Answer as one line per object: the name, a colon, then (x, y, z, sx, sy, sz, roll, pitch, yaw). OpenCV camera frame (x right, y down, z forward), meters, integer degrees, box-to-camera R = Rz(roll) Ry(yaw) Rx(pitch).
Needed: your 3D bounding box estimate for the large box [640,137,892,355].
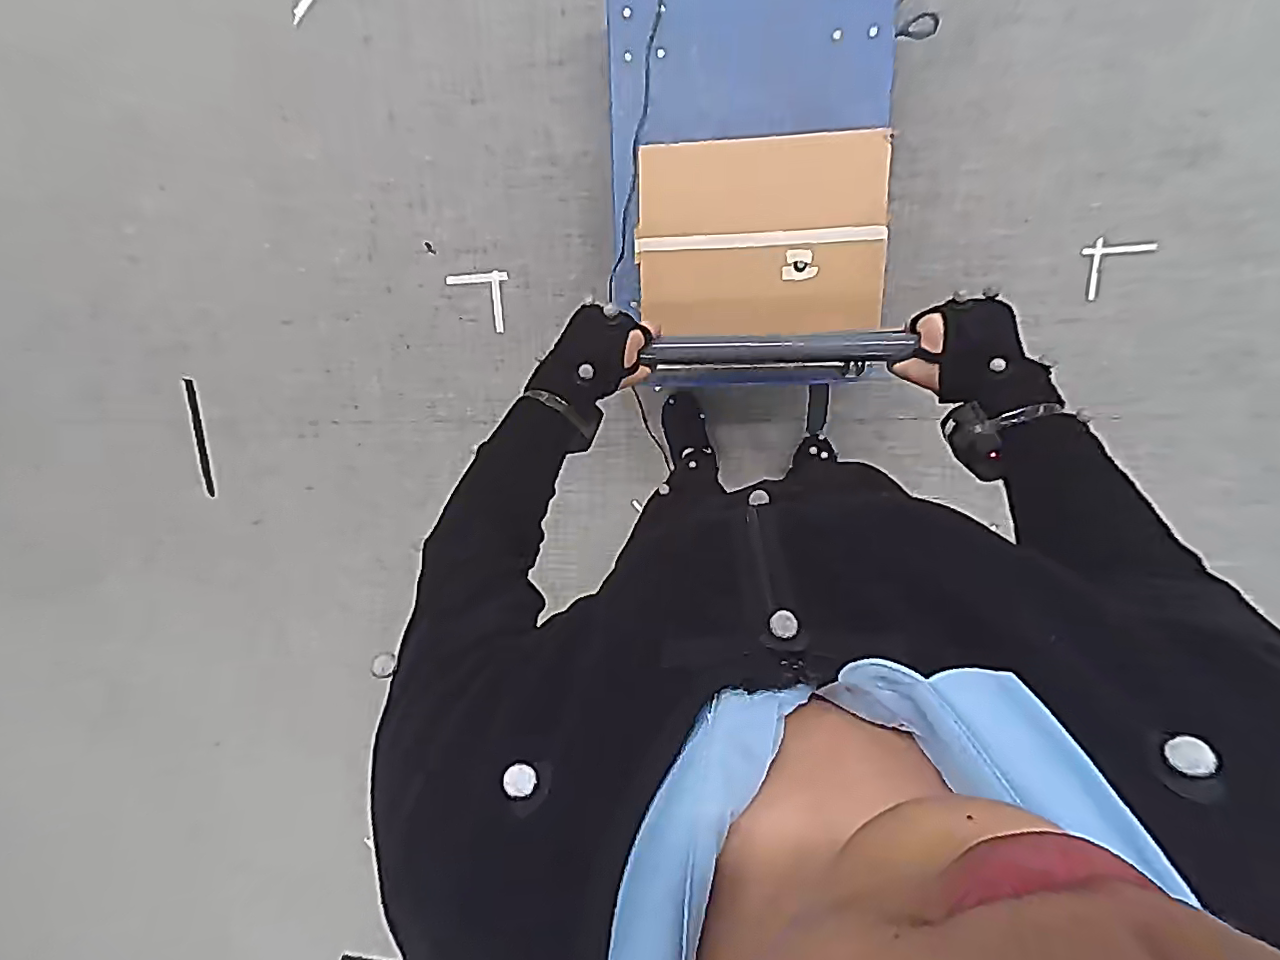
large box: (0.217, -0.410, 1.038, 0.408, 0.320, 0.320, 0, 101, 7)
